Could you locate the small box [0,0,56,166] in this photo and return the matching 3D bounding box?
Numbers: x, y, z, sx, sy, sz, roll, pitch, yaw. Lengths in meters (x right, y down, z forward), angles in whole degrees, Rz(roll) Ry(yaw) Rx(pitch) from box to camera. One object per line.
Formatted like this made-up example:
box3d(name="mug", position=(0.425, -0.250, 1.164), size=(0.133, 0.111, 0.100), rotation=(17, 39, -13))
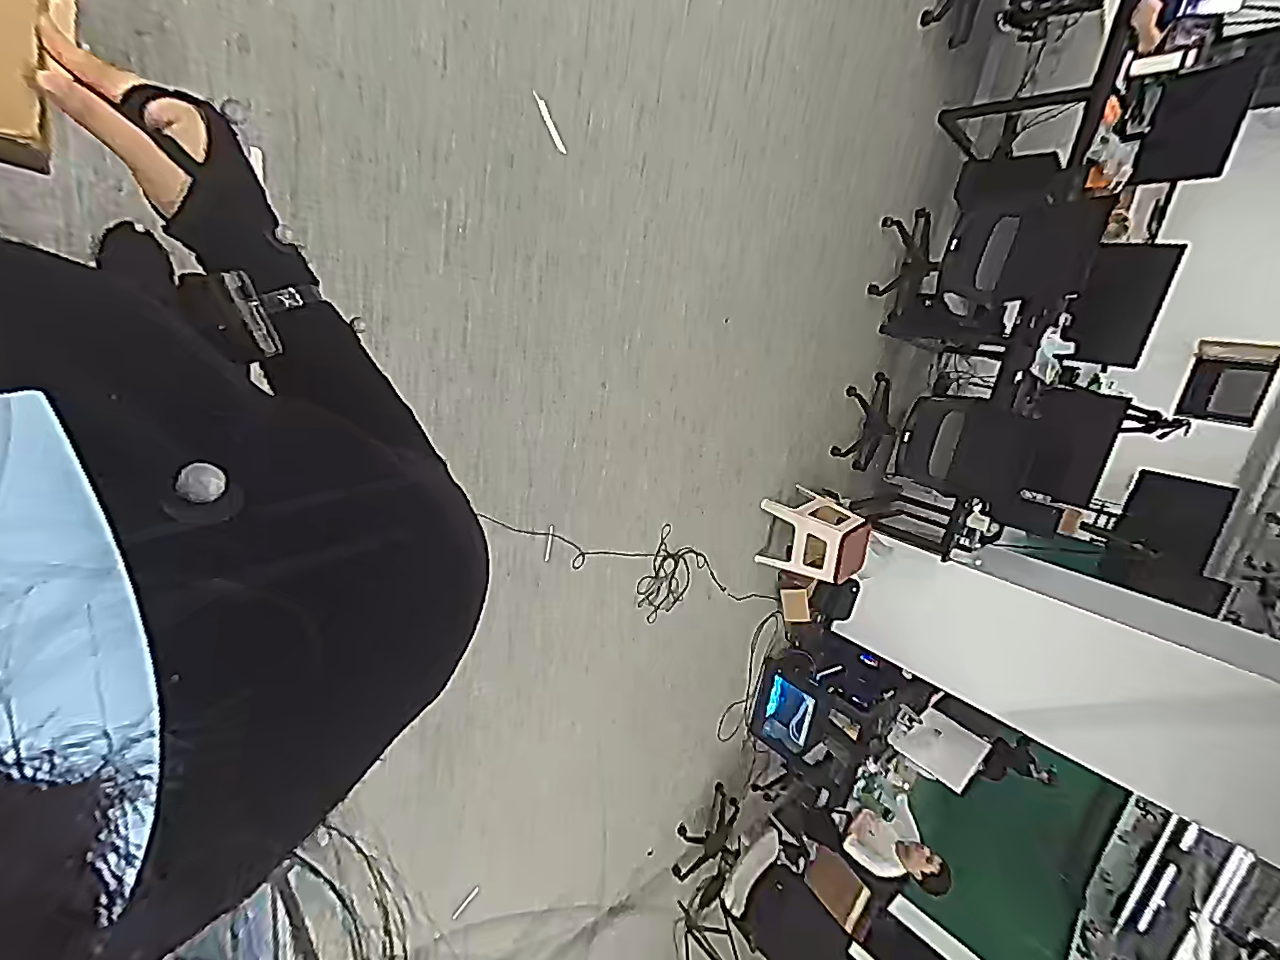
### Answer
box3d(name="small box", position=(-0.457, -0.309, 0.307), size=(0.168, 0.176, 0.179), rotation=(0, 106, -46))
